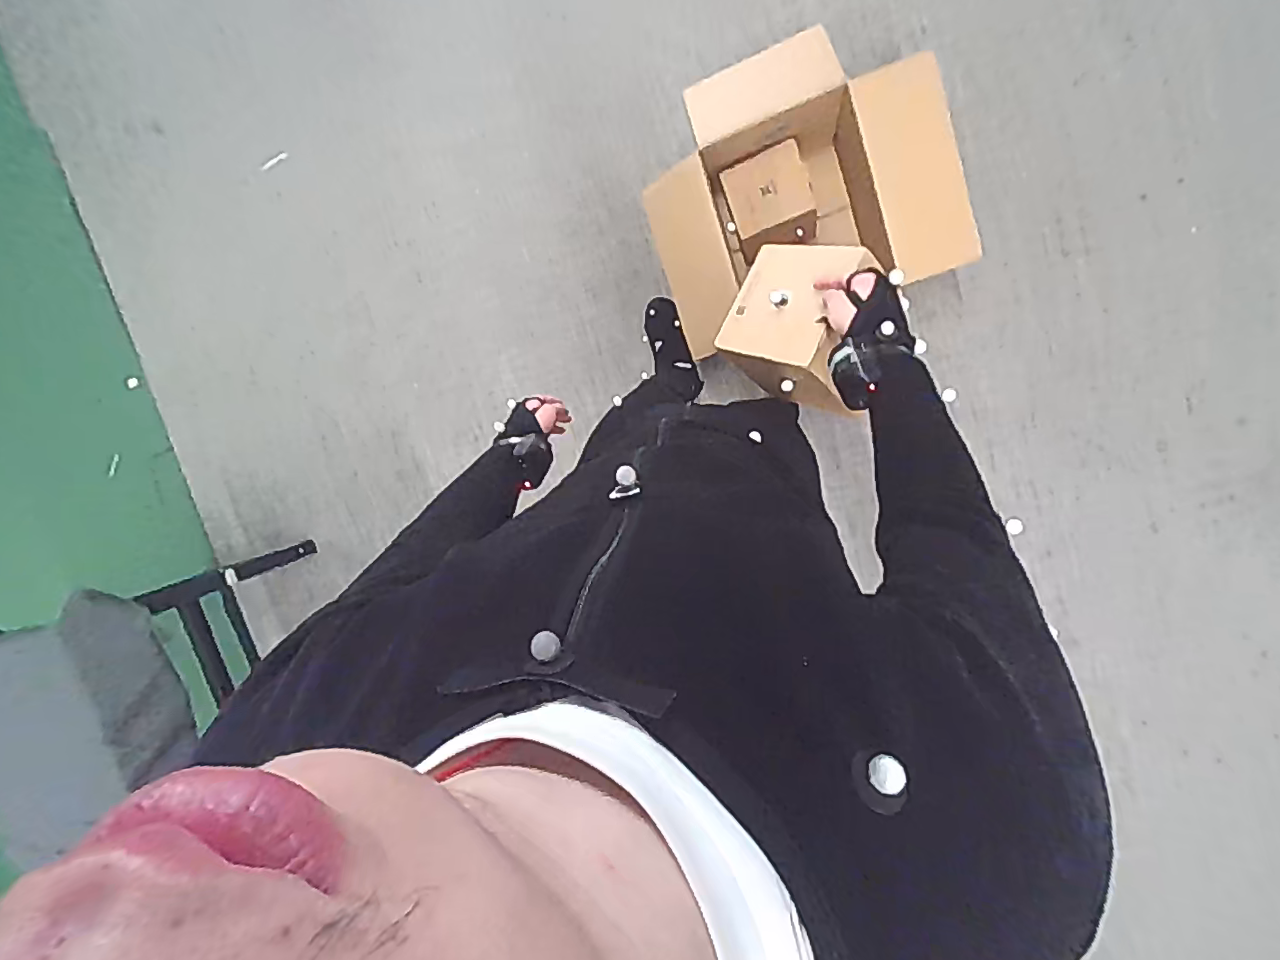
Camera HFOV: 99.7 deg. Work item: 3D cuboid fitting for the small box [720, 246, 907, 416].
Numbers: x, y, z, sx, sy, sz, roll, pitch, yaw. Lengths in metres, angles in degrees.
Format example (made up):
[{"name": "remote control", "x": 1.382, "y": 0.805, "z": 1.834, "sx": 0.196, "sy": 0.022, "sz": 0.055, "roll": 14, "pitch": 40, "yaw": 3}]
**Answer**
[{"name": "small box", "x": 0.246, "y": -0.212, "z": 0.780, "sx": 0.176, "sy": 0.179, "sz": 0.168, "roll": 26, "pitch": 92, "yaw": 45}]
